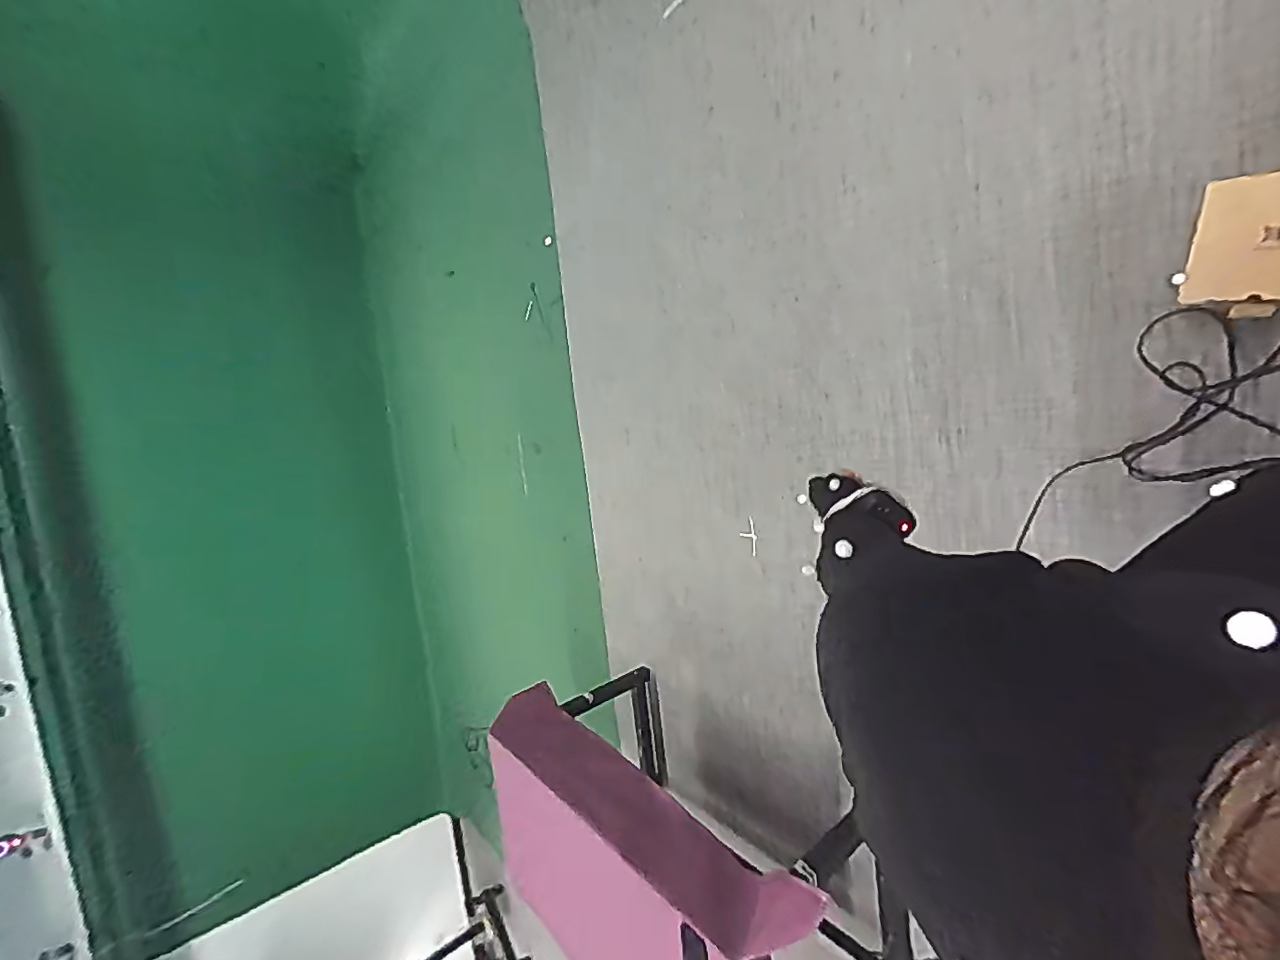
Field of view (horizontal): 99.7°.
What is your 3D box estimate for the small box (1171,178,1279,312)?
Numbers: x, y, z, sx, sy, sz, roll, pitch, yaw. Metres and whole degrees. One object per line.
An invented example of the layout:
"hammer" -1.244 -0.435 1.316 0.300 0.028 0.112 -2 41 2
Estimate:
"small box" 0.967 -0.355 0.835 0.168 0.176 0.179 19 114 48
